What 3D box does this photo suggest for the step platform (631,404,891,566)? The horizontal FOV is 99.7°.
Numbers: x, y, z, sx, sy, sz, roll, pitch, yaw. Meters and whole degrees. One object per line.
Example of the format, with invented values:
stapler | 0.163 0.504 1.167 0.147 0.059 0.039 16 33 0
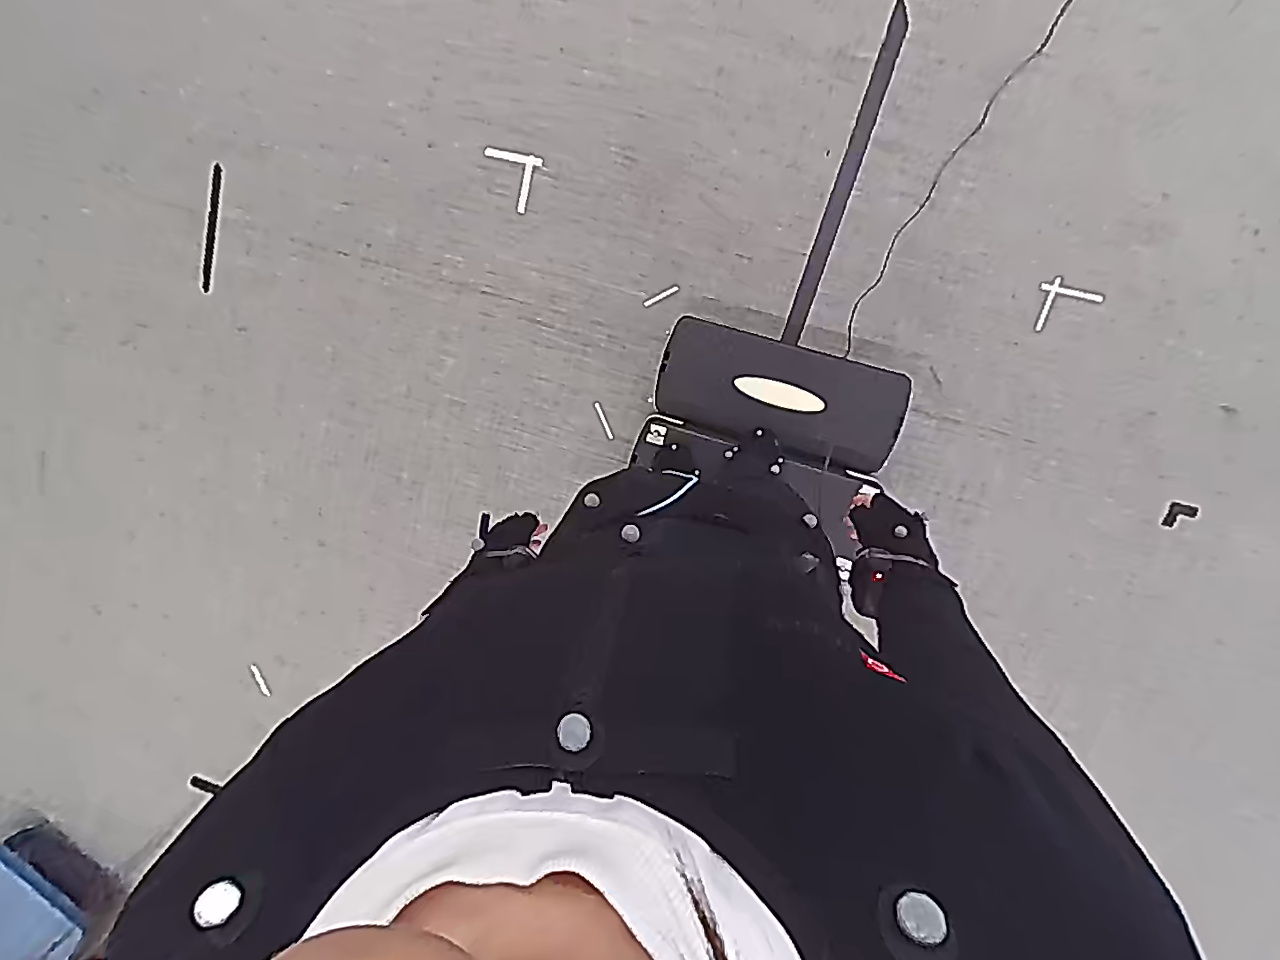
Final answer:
step platform | 0.320 0.006 1.507 0.684 0.204 0.286 16 100 7
